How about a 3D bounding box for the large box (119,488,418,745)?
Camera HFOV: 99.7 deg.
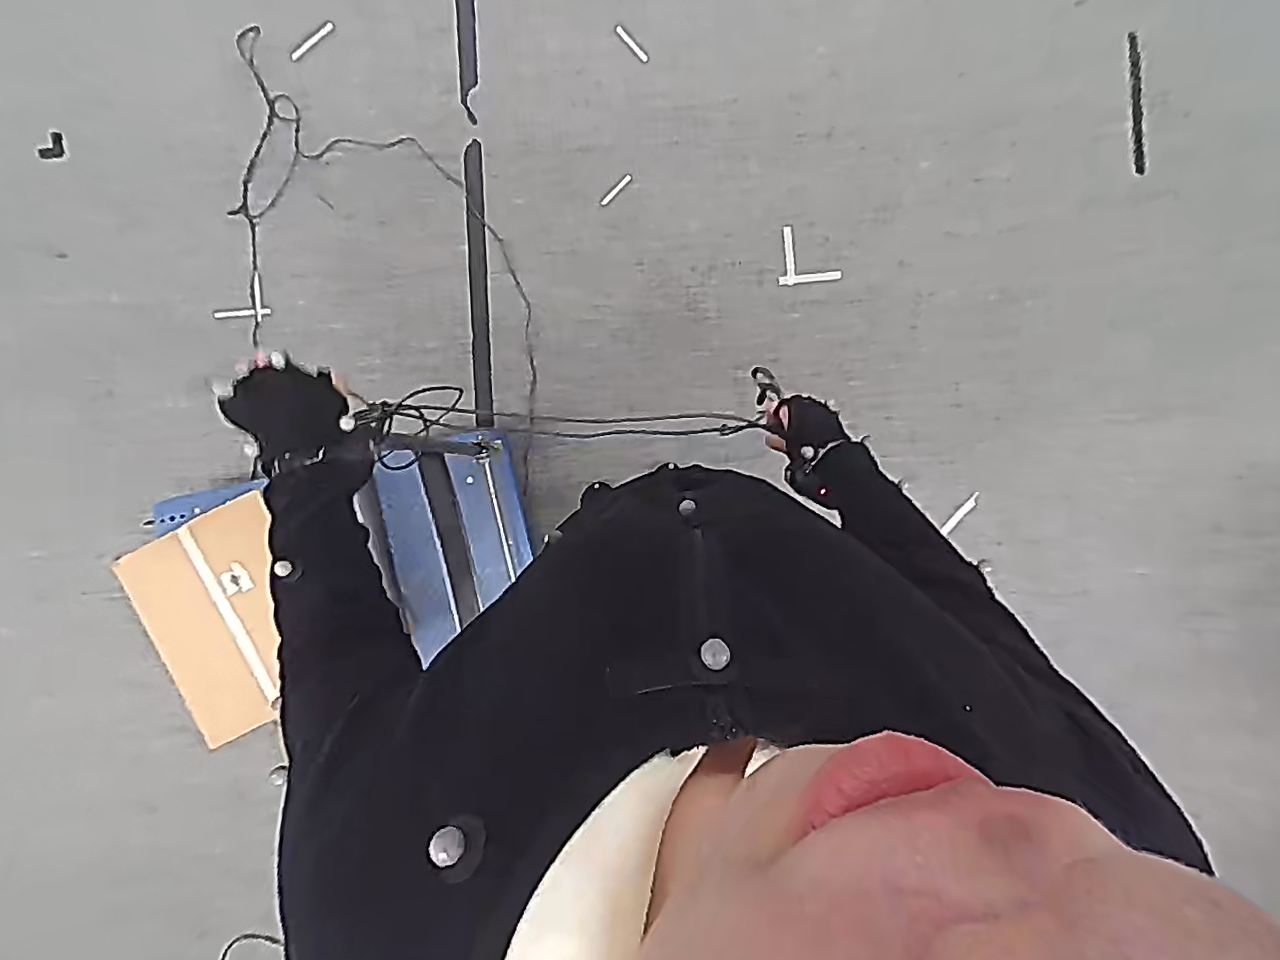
[{"bbox_3d":[-0.760,0.262,1.170,0.320,0.320,0.408,-27,91,-1],"label":"large box"}]
